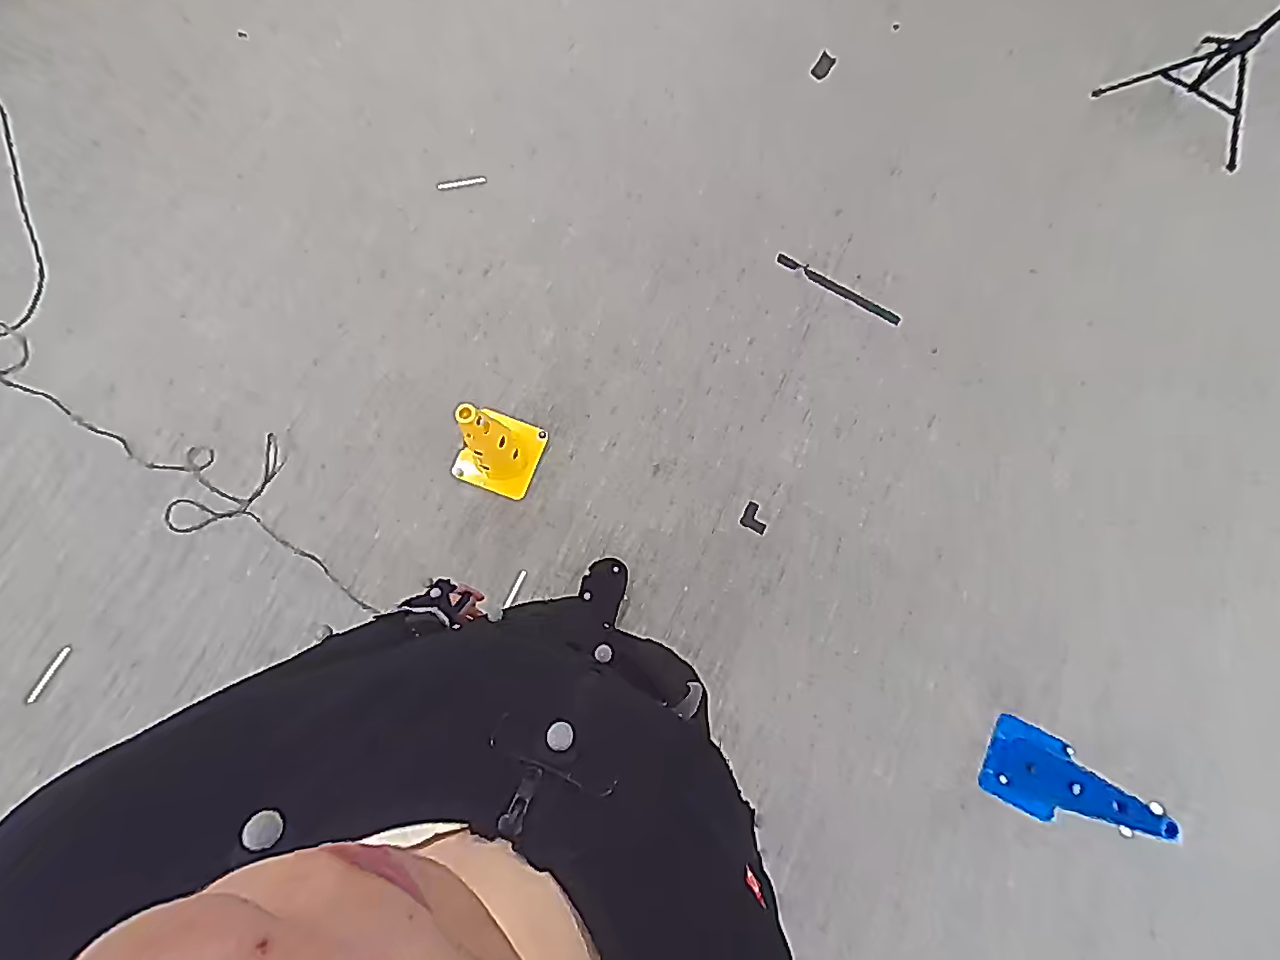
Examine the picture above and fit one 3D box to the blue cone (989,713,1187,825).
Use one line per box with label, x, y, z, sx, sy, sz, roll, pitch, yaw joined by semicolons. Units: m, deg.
blue cone;0.979;0.667;1.179;0.193;0.380;0.192;28;78;2
